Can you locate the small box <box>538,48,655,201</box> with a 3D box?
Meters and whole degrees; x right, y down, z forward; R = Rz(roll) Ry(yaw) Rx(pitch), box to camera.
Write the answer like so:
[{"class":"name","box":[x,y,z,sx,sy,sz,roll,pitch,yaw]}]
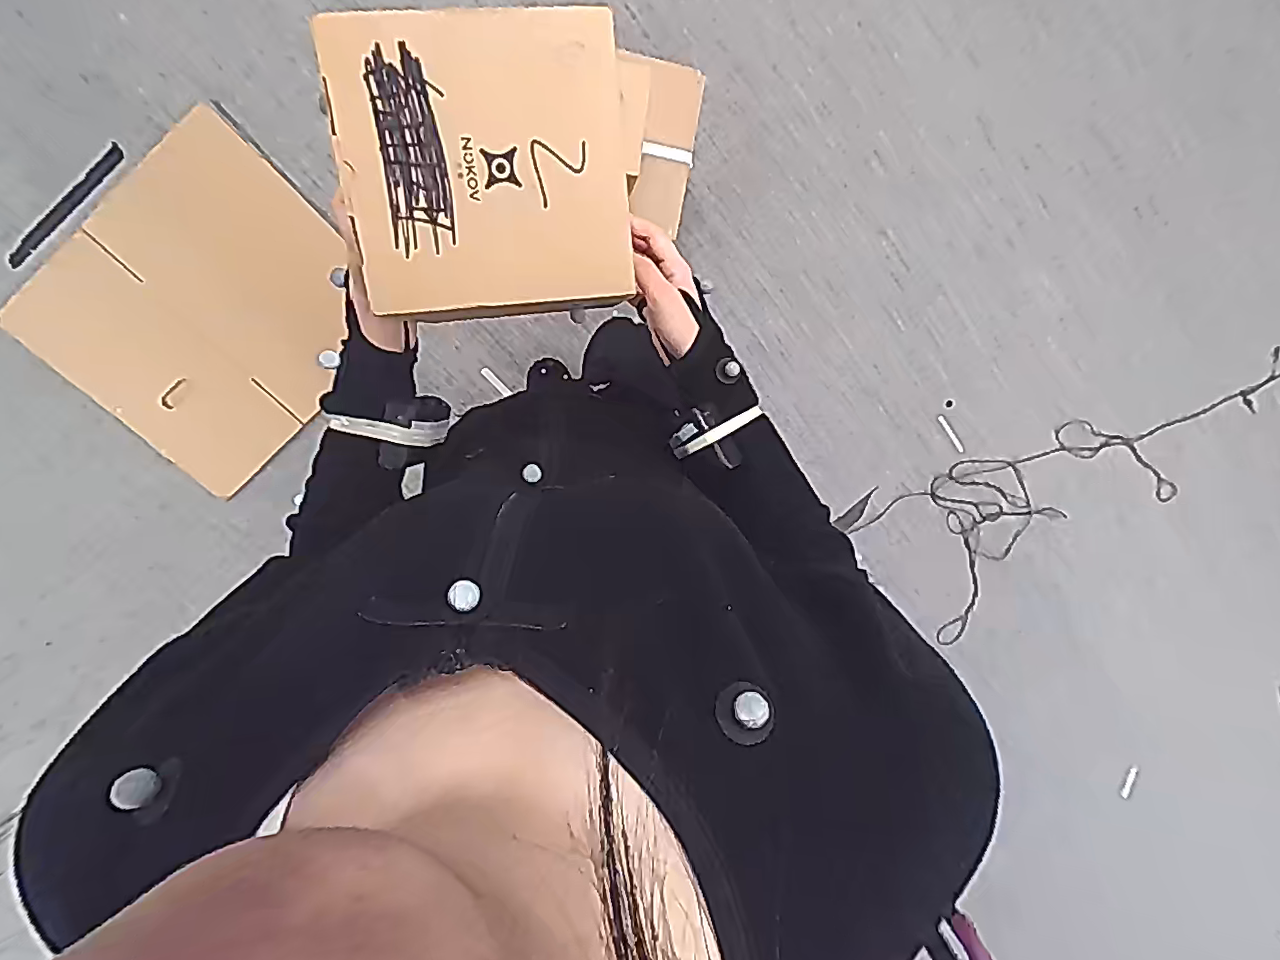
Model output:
[{"class":"small box","box":[-0.082,-0.610,0.952,0.179,0.176,0.168,5,104,-10]}]
